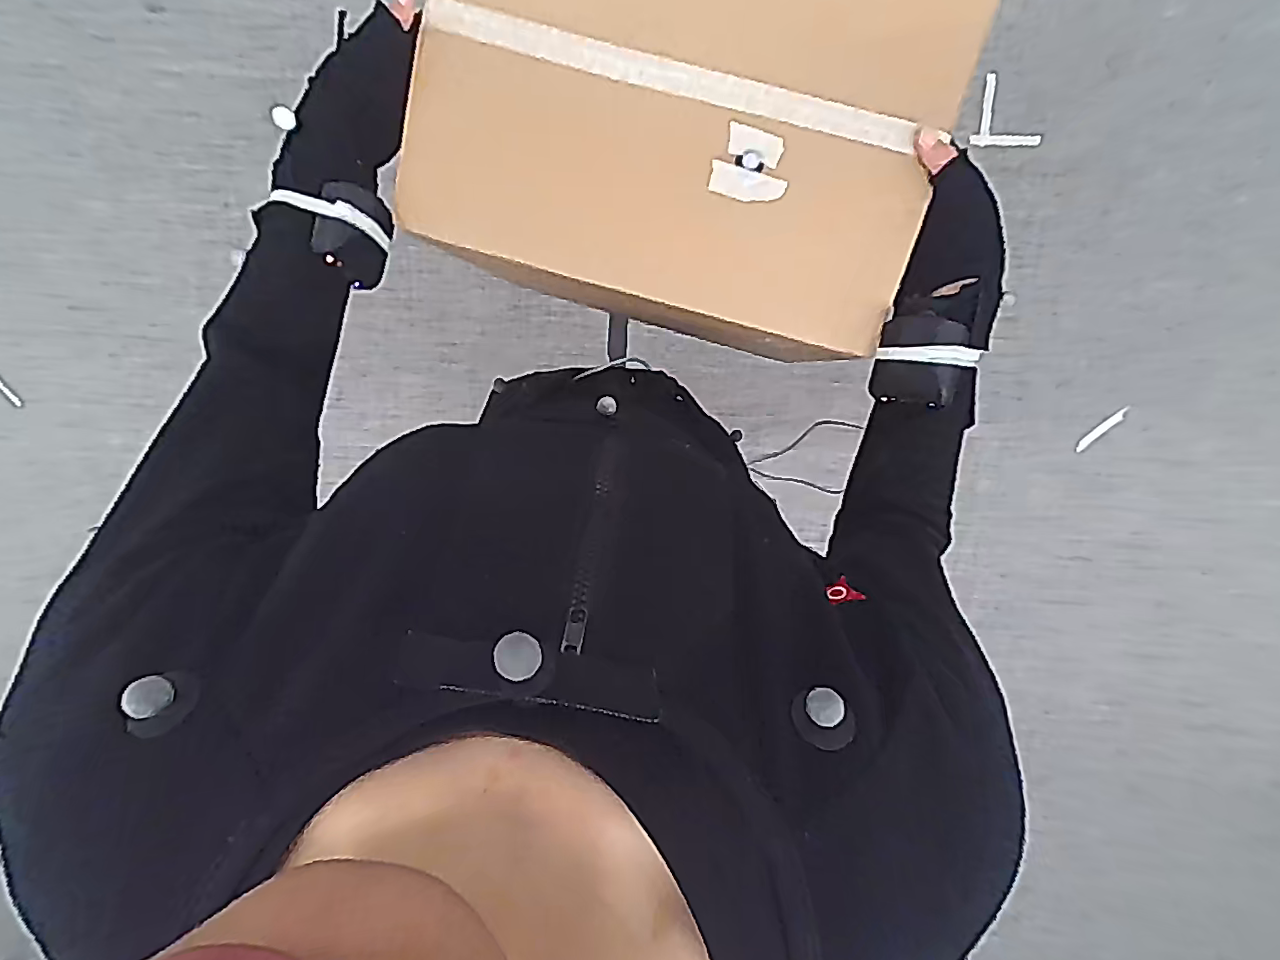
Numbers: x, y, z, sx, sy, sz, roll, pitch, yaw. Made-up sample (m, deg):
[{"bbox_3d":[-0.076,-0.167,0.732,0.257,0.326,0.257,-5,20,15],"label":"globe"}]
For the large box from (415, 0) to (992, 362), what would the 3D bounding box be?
[{"bbox_3d":[0.045,-0.326,0.566,0.408,0.320,0.320,16,103,0],"label":"large box"}]
